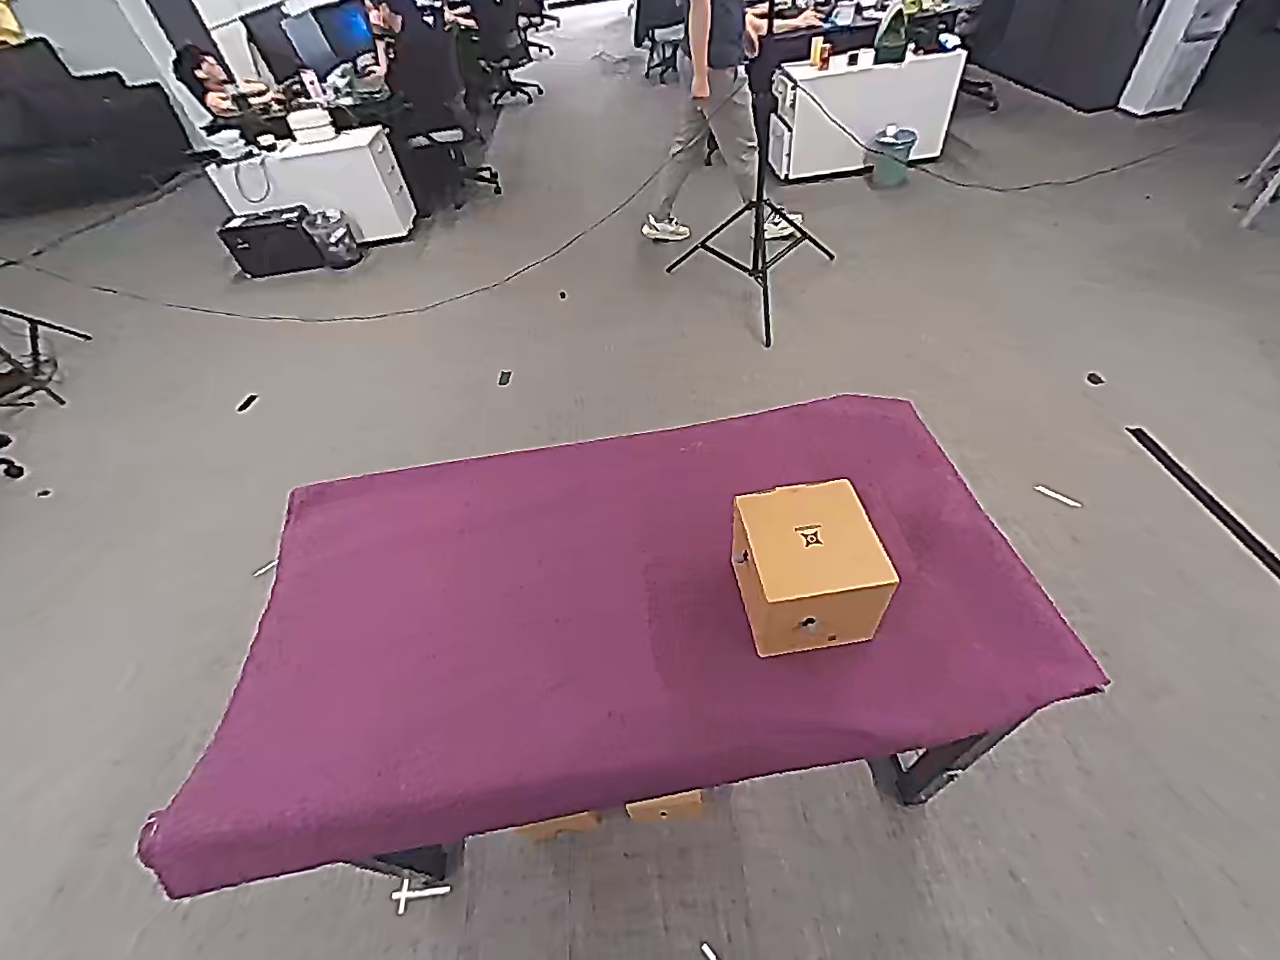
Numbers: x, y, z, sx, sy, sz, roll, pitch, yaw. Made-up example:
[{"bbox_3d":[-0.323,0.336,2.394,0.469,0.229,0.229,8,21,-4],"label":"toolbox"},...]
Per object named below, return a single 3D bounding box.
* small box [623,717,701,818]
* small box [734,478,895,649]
[{"bbox_3d":[0.053,0.689,1.286,0.168,0.176,0.179,-7,47,1],"label":"small box"},{"bbox_3d":[0.236,0.127,0.779,0.168,0.176,0.179,-9,47,0],"label":"small box"}]
